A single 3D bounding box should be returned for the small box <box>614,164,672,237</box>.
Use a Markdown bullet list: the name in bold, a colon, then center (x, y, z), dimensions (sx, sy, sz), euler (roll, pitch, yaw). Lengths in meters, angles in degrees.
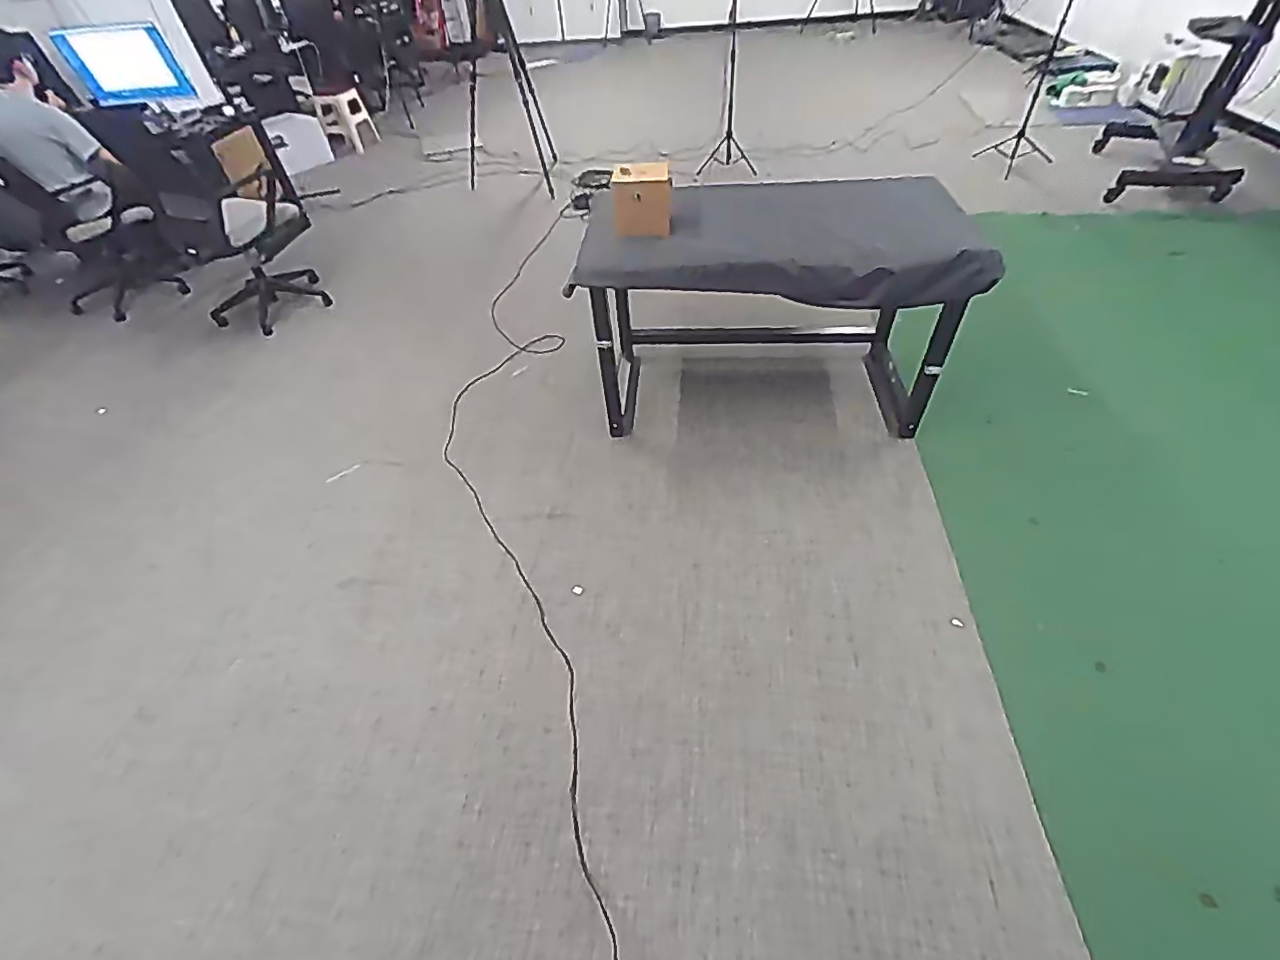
- **small box**: center (0.014, -0.901, 1.749), dimensions (0.179, 0.176, 0.168), euler (0, 47, 3)
